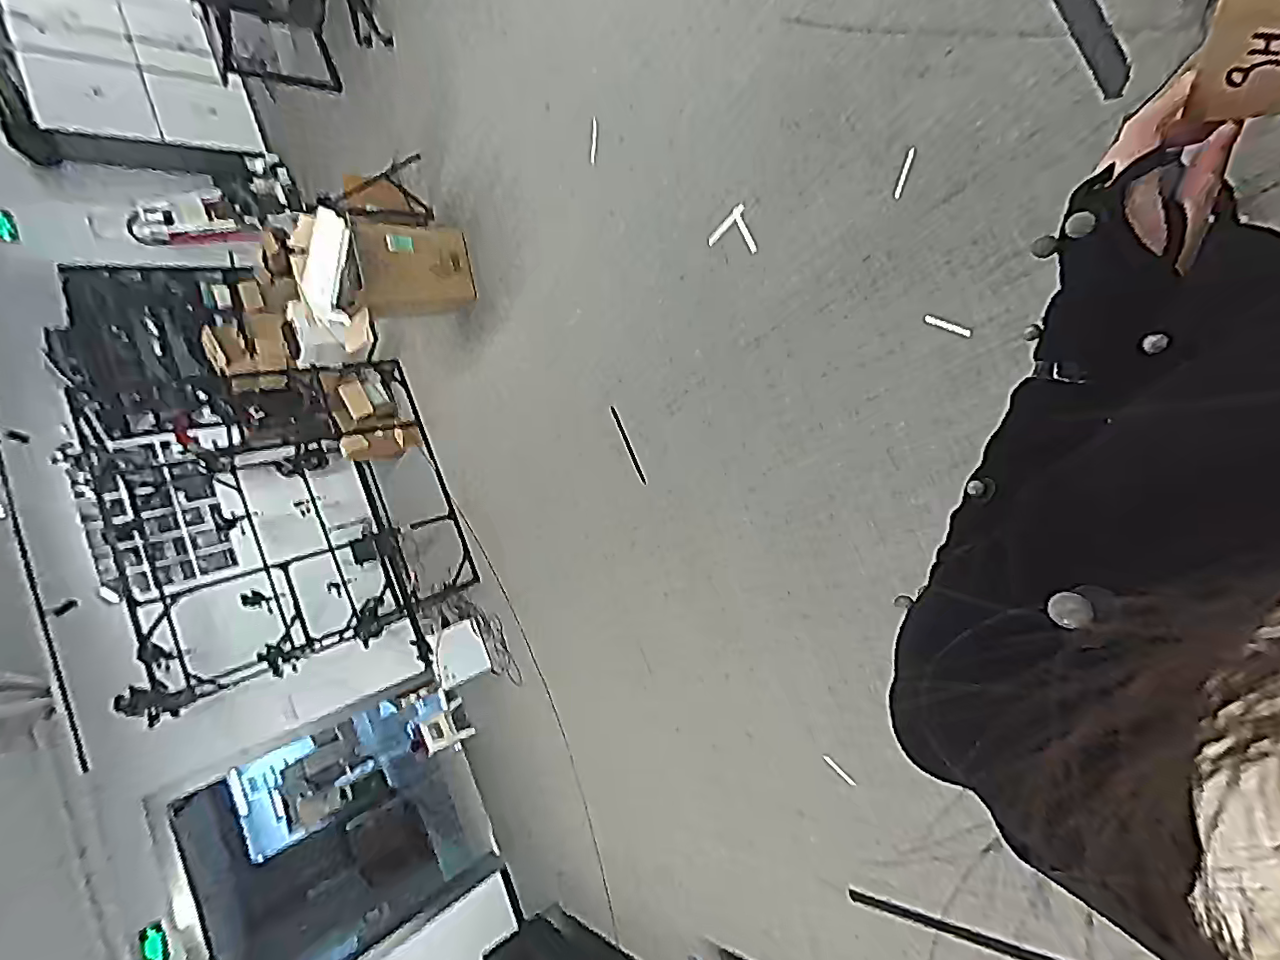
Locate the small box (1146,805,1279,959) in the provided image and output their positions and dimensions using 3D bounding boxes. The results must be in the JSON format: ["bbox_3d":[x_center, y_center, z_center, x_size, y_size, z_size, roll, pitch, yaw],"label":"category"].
[{"bbox_3d":[1.216,0.833,1.143,0.168,0.176,0.179,-20,89,53],"label":"small box"}]
